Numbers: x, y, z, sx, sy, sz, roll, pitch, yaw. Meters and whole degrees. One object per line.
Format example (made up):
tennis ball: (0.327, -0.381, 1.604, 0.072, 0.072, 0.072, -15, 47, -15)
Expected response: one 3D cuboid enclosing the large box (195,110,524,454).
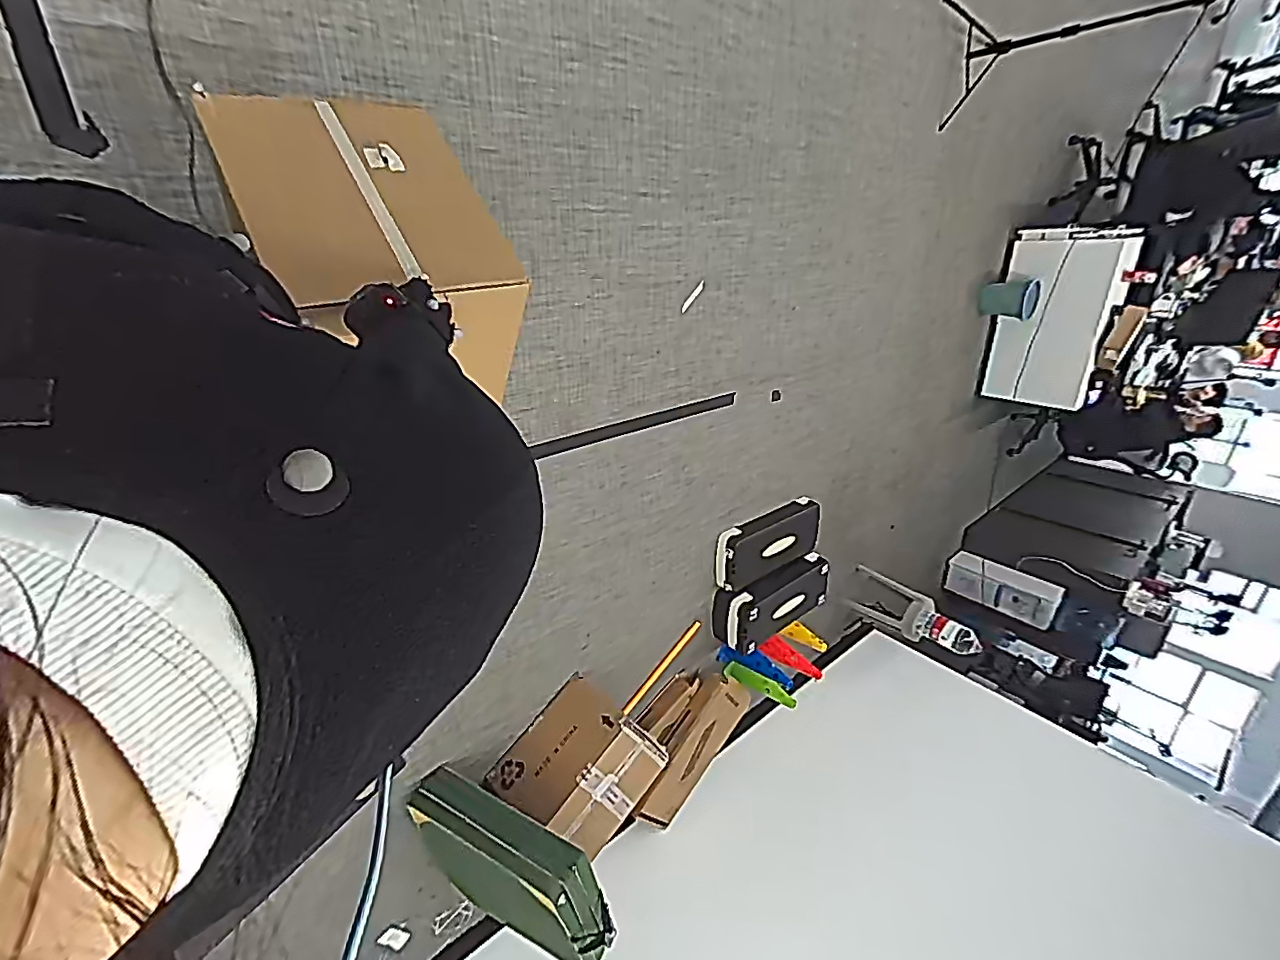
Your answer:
large box: (-0.438, -0.316, 0.881, 0.320, 0.408, 0.320, -21, 159, -34)
